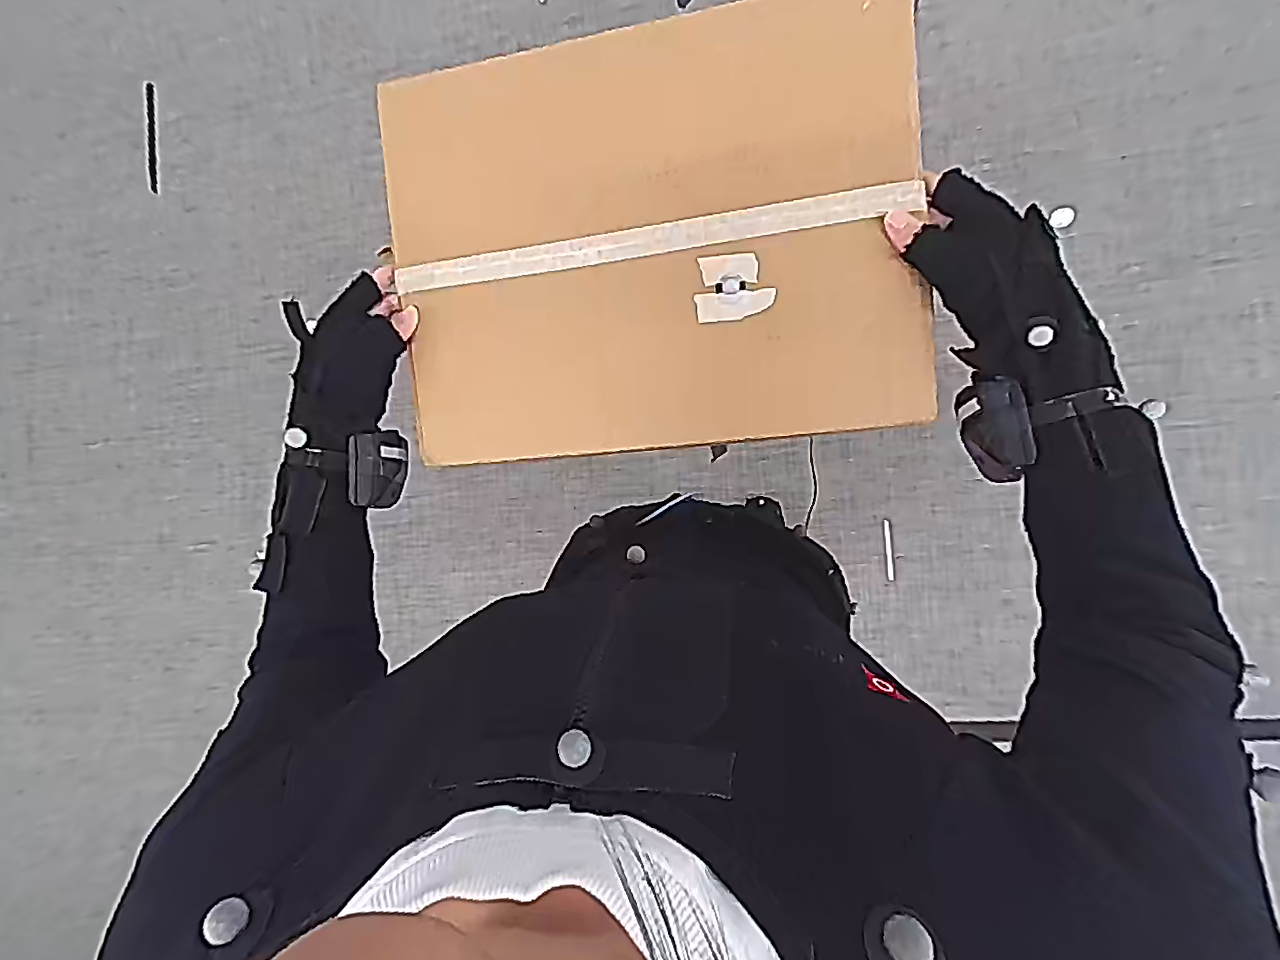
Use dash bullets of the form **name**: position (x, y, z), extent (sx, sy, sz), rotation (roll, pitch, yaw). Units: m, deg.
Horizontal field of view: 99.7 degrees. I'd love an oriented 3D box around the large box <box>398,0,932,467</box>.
- **large box**: position (0.029, -0.193, 0.572), extent (0.408, 0.320, 0.320), rotation (-5, 94, 10)
